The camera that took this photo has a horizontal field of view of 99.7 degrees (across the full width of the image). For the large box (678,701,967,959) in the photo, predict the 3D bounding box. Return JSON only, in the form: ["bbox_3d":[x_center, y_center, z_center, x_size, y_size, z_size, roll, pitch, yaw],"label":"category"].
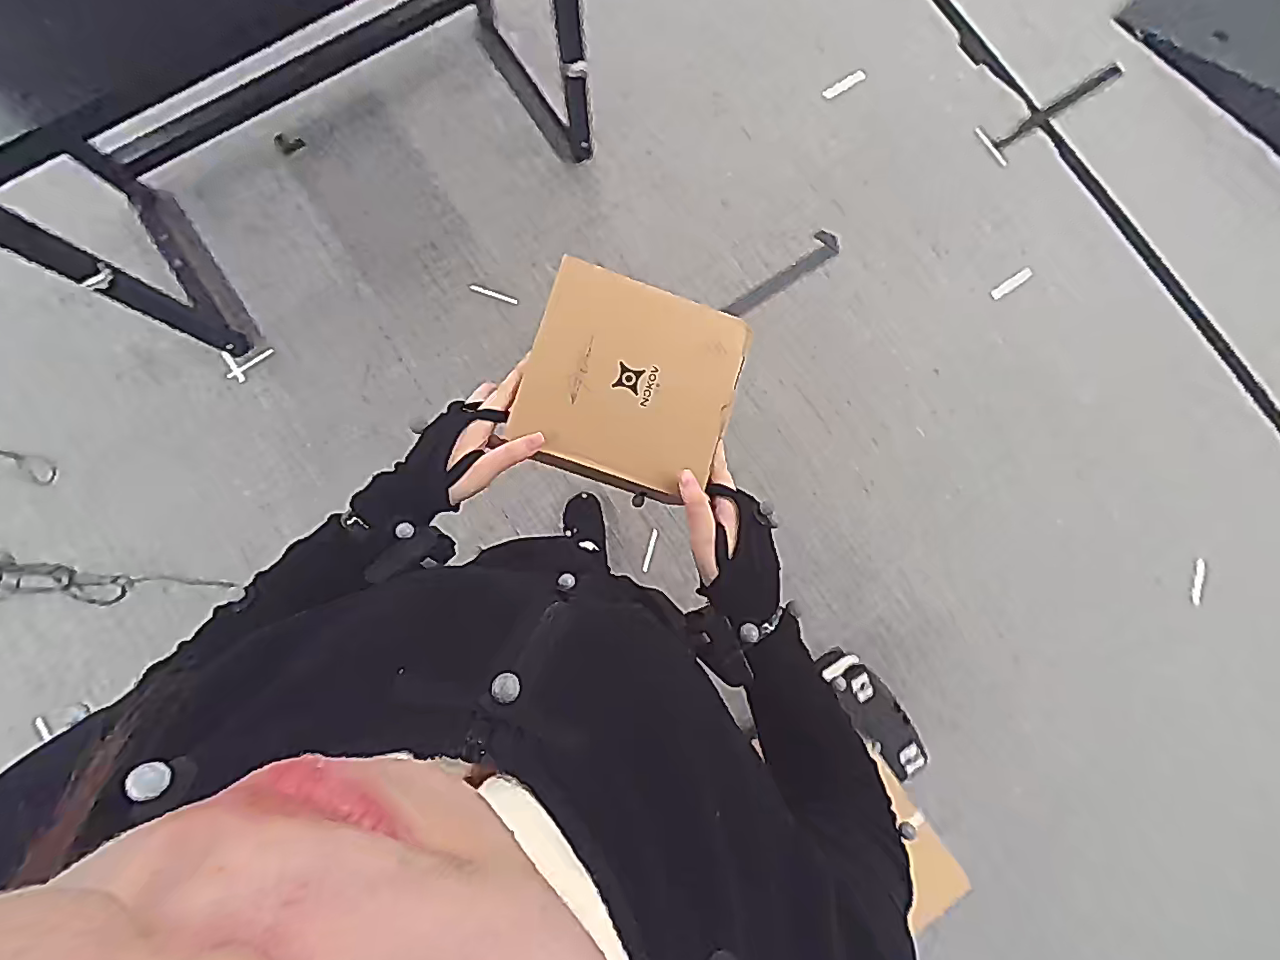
[{"bbox_3d":[0.338,0.737,1.111,0.408,0.320,0.320,-35,87,-7],"label":"large box"}]

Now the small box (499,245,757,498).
[{"bbox_3d":[-0.016,-0.087,0.523,0.179,0.176,0.168,18,85,-6],"label":"small box"}]
